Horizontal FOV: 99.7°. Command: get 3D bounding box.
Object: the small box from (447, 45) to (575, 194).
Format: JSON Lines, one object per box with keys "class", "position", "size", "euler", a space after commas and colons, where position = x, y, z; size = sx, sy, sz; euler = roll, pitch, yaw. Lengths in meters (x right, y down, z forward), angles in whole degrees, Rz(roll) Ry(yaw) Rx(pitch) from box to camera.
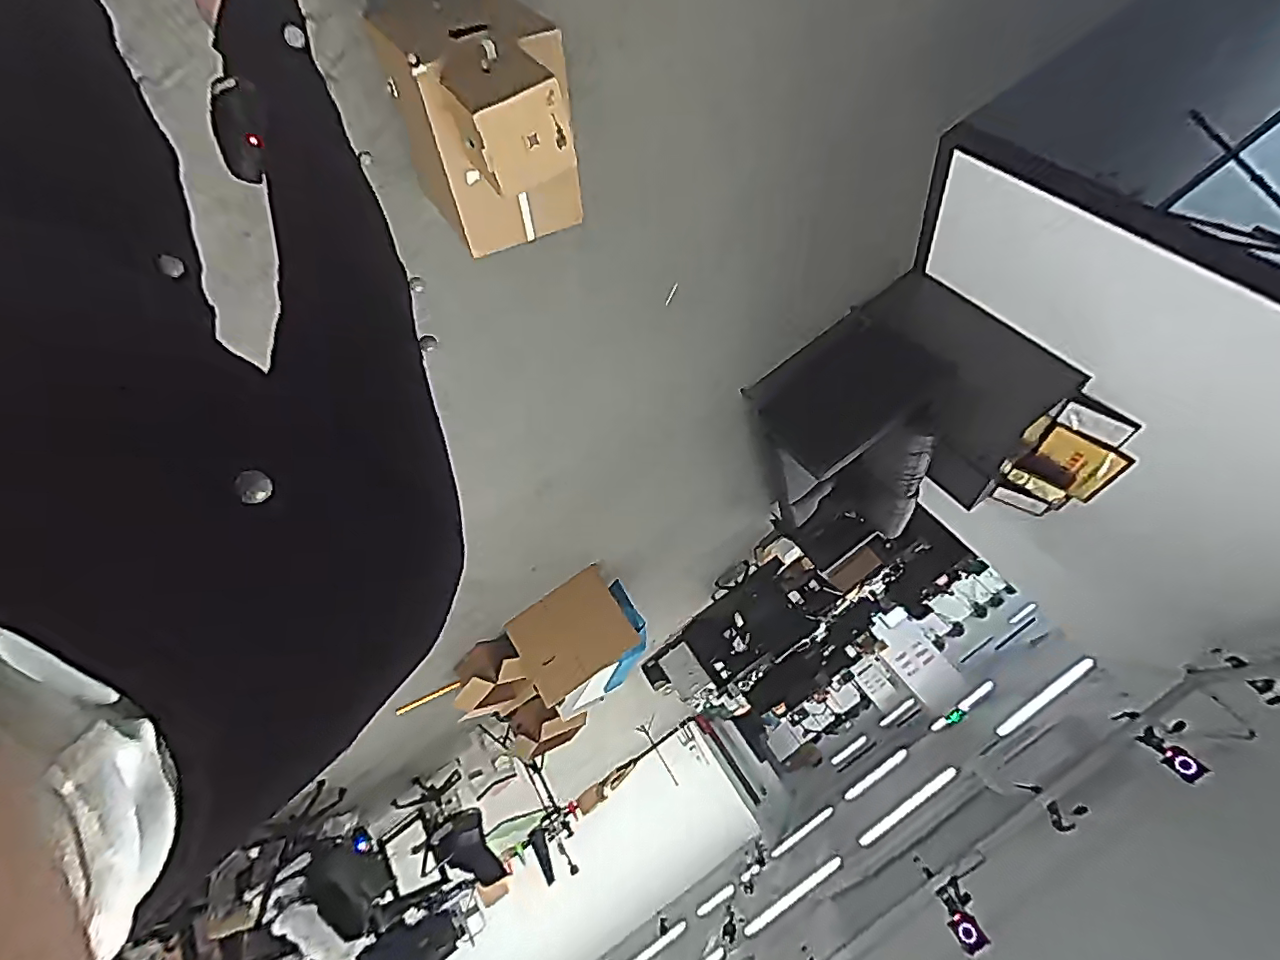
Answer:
{"class": "small box", "position": [-0.256, -0.706, 1.060], "size": [0.179, 0.176, 0.168], "euler": [-31, 151, -9]}
